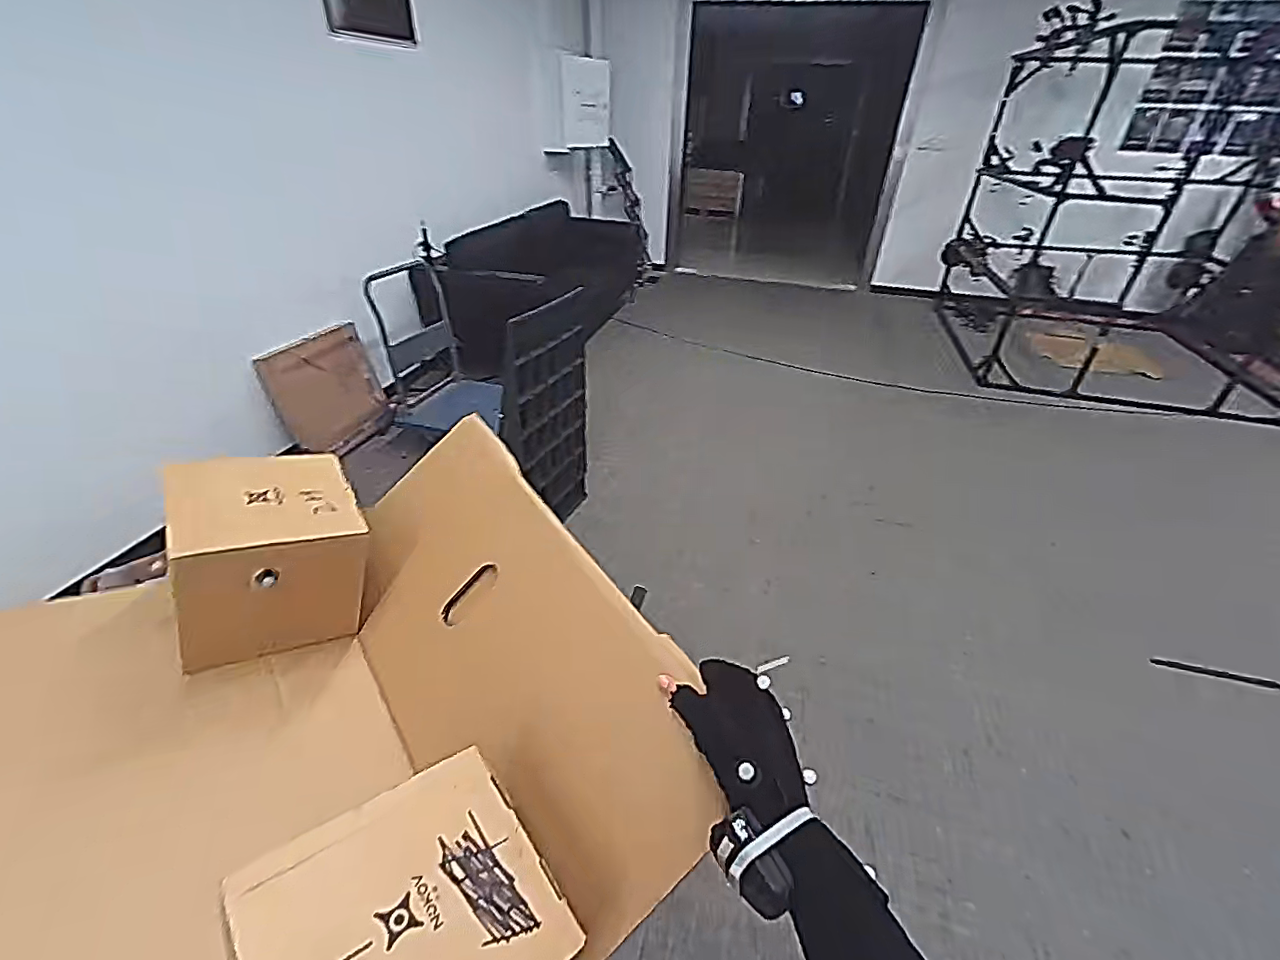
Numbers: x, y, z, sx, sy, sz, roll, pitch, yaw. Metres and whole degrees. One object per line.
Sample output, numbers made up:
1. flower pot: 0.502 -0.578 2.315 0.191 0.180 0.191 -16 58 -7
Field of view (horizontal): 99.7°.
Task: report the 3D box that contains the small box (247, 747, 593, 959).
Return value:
1. small box: -0.168 0.346 0.397 0.179 0.176 0.168 -10 43 -43
